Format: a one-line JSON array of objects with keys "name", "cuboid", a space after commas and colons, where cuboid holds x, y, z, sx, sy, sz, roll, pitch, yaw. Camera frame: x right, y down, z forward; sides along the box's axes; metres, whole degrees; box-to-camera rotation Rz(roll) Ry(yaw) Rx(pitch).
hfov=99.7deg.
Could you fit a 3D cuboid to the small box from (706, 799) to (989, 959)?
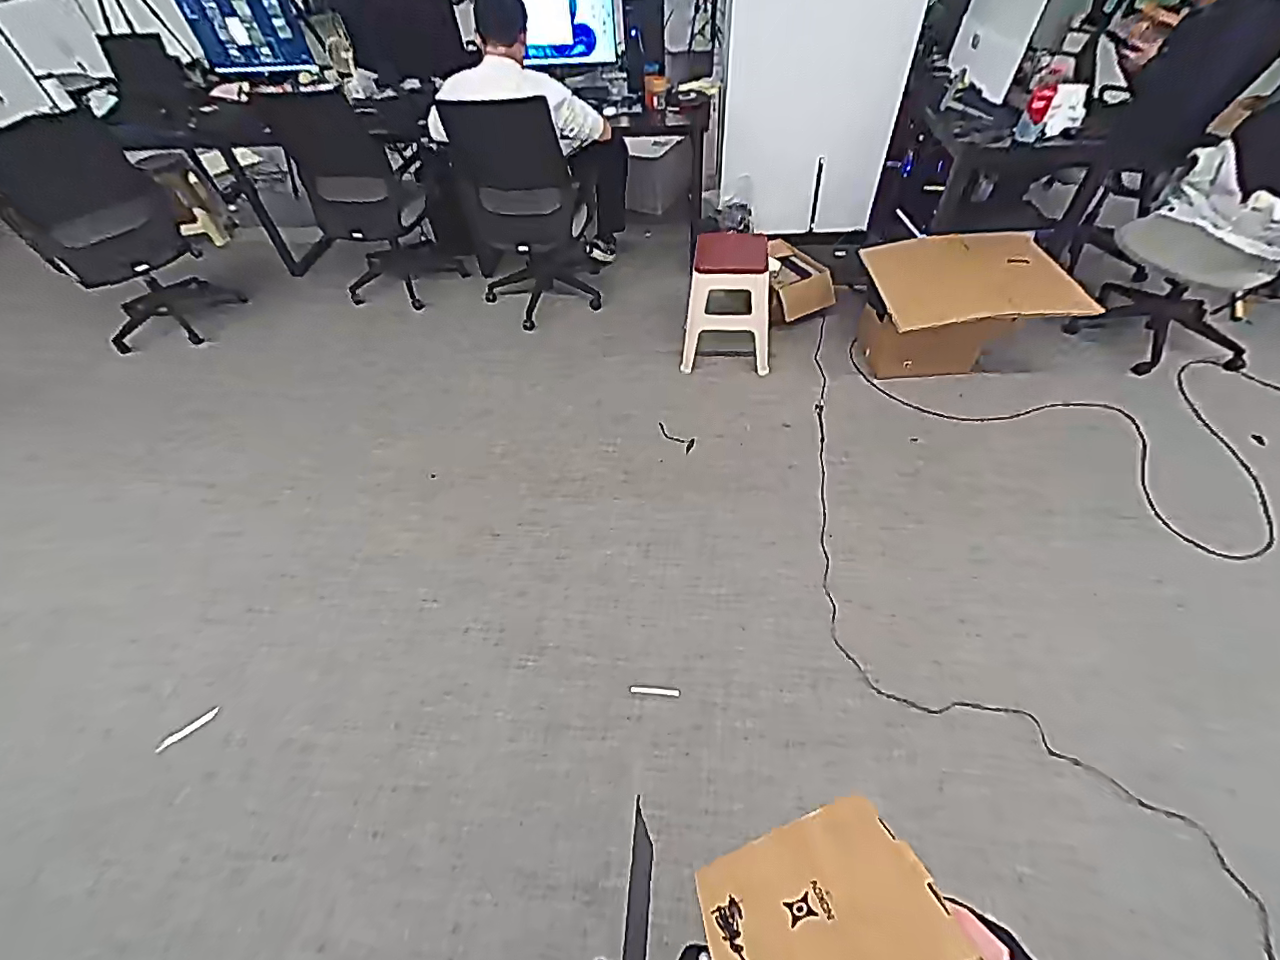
[{"name": "small box", "cuboid": [0.176, 0.416, 0.439, 0.179, 0.168, 0.176, -23, 93, -2]}]
